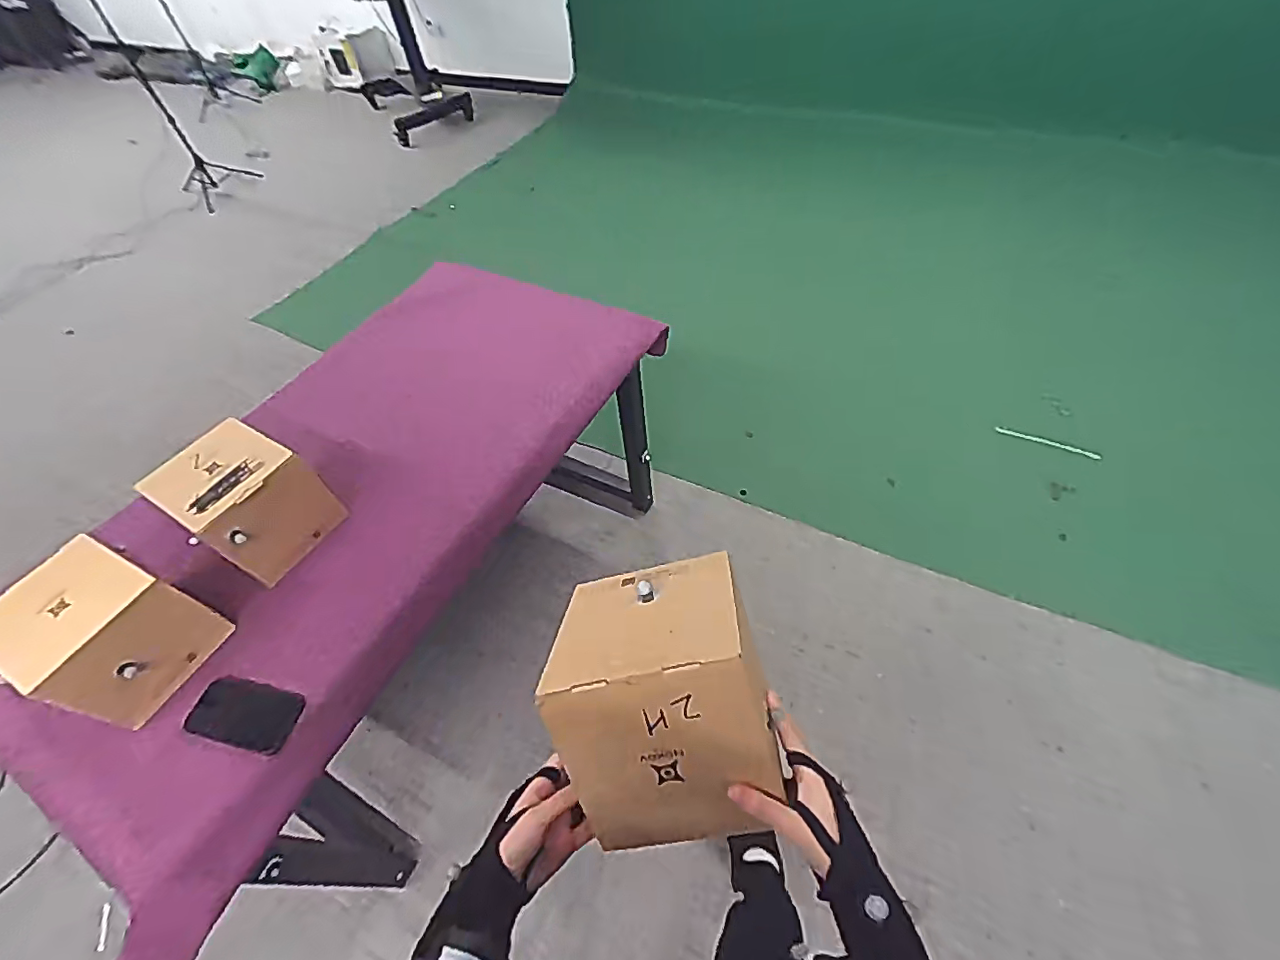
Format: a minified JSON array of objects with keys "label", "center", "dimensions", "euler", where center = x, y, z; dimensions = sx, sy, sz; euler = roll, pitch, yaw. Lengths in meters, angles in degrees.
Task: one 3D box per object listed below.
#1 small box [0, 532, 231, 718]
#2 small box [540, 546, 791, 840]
[{"label":"small box","center":[-0.730,0.205,0.746],"dimensions":[0.179,0.176,0.168],"euler":[19,56,19]},{"label":"small box","center":[0.030,0.187,0.503],"dimensions":[0.168,0.179,0.176],"euler":[-15,16,9]}]
